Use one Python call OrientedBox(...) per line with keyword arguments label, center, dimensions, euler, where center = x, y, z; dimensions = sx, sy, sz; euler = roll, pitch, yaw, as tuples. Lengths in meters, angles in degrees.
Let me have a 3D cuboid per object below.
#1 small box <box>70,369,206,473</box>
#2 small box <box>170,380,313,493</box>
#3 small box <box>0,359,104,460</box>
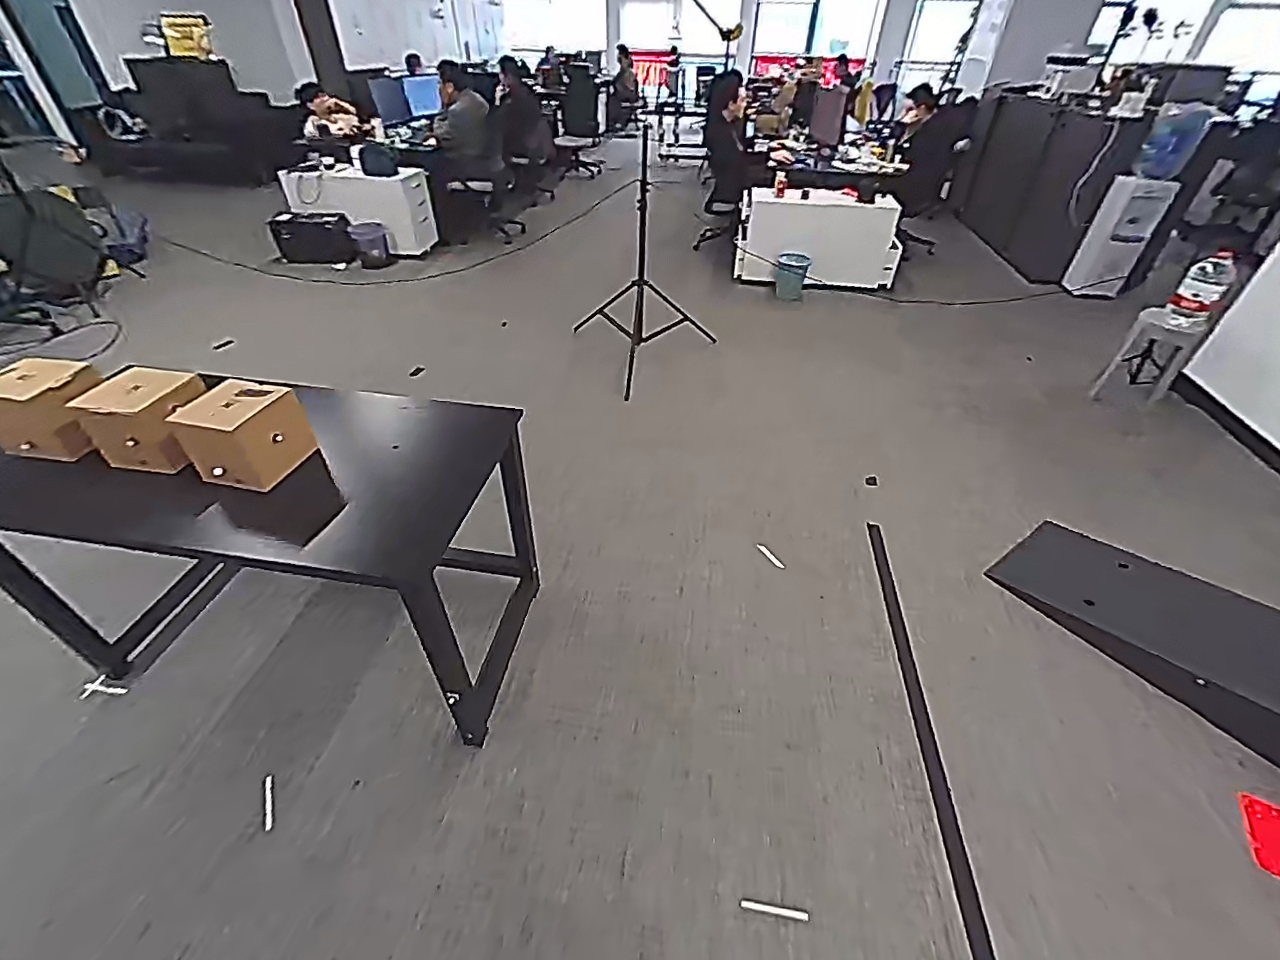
OrientedBox(label="small box", center=(-1.113, -0.135, 1.245), dimensions=(0.168, 0.176, 0.179), euler=(7, 39, 5))
OrientedBox(label="small box", center=(-0.869, -0.098, 1.207), dimensions=(0.168, 0.176, 0.179), euler=(10, 41, 9))
OrientedBox(label="small box", center=(-1.373, -0.163, 1.265), dimensions=(0.179, 0.176, 0.168), euler=(6, 40, 4))
